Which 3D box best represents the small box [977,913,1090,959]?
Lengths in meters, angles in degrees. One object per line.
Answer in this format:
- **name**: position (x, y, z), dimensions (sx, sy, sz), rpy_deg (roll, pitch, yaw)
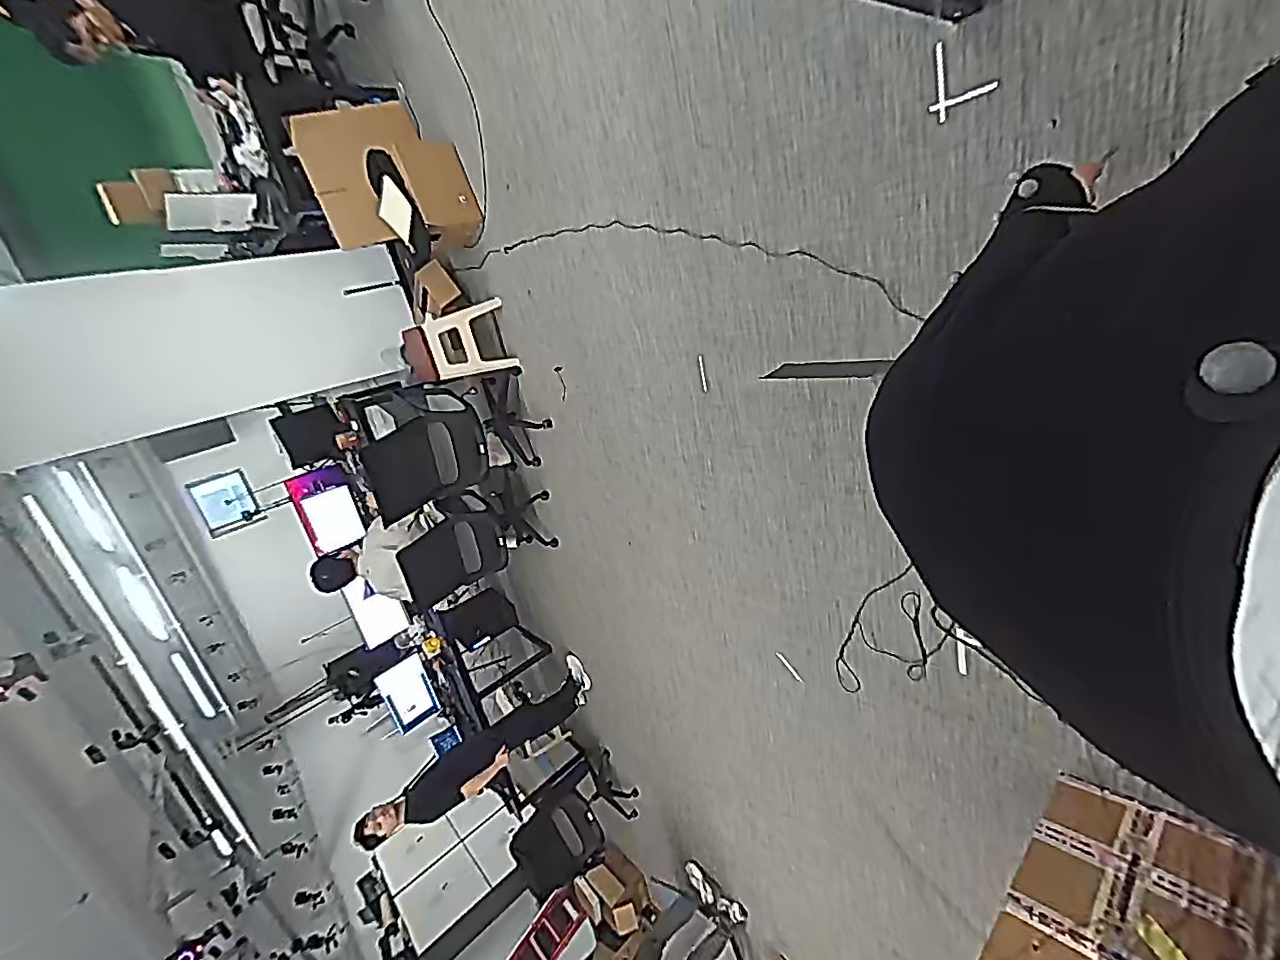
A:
- **small box**: position (0.926, 1.173, 1.264), dimensions (0.179, 0.176, 0.168), rpy_deg (0, 108, 53)
